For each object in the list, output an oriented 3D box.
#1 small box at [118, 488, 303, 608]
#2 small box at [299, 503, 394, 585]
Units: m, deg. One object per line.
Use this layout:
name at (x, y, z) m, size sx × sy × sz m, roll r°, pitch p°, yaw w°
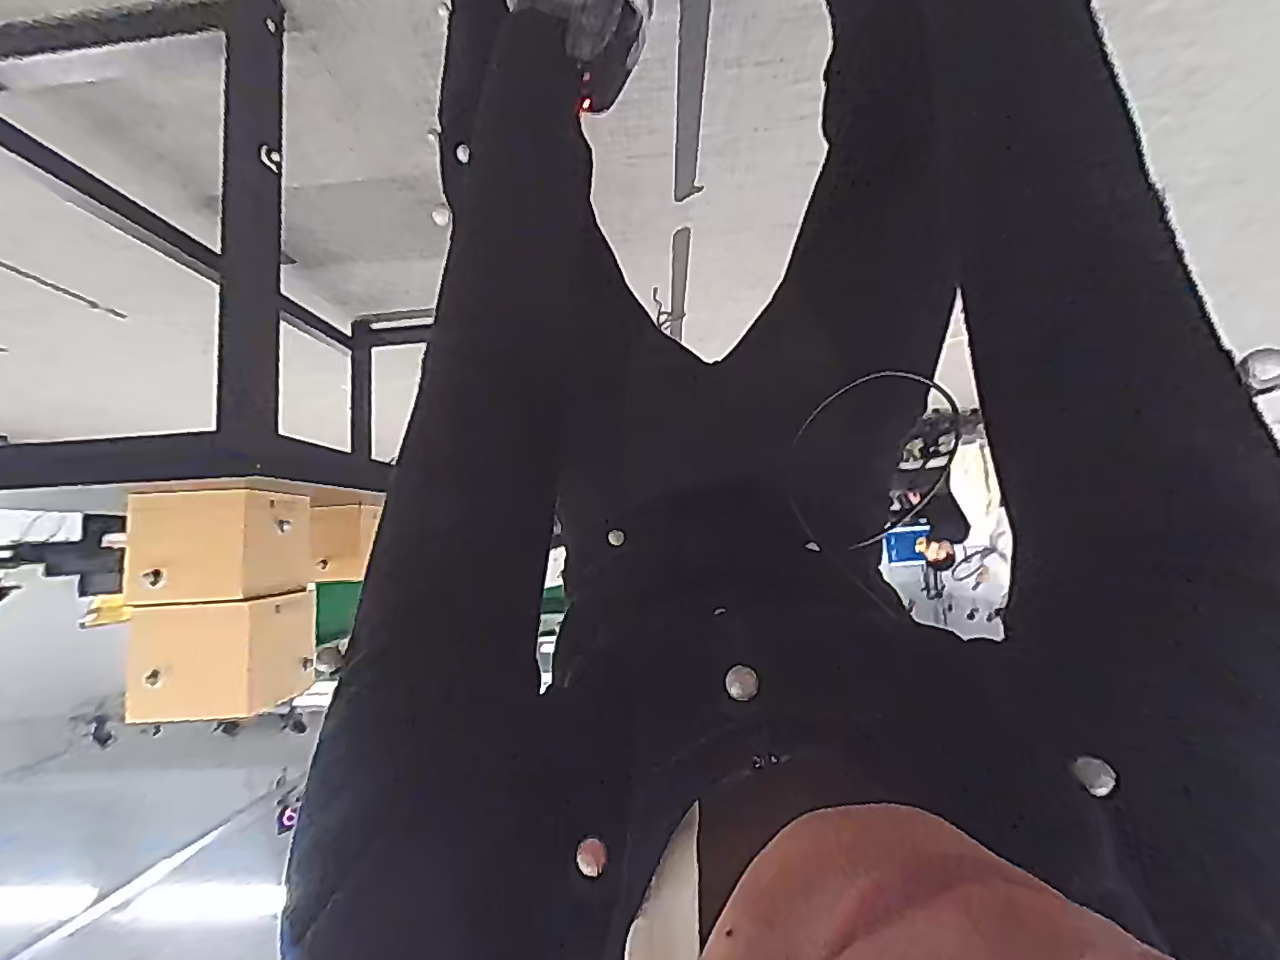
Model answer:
small box at (-0.669, 0.107, 0.865) m, size 0.179 × 0.176 × 0.168 m, roll -3°, pitch 174°, yaw -1°
small box at (-0.682, 0.148, 1.234) m, size 0.179 × 0.176 × 0.168 m, roll -4°, pitch 173°, yaw 4°
